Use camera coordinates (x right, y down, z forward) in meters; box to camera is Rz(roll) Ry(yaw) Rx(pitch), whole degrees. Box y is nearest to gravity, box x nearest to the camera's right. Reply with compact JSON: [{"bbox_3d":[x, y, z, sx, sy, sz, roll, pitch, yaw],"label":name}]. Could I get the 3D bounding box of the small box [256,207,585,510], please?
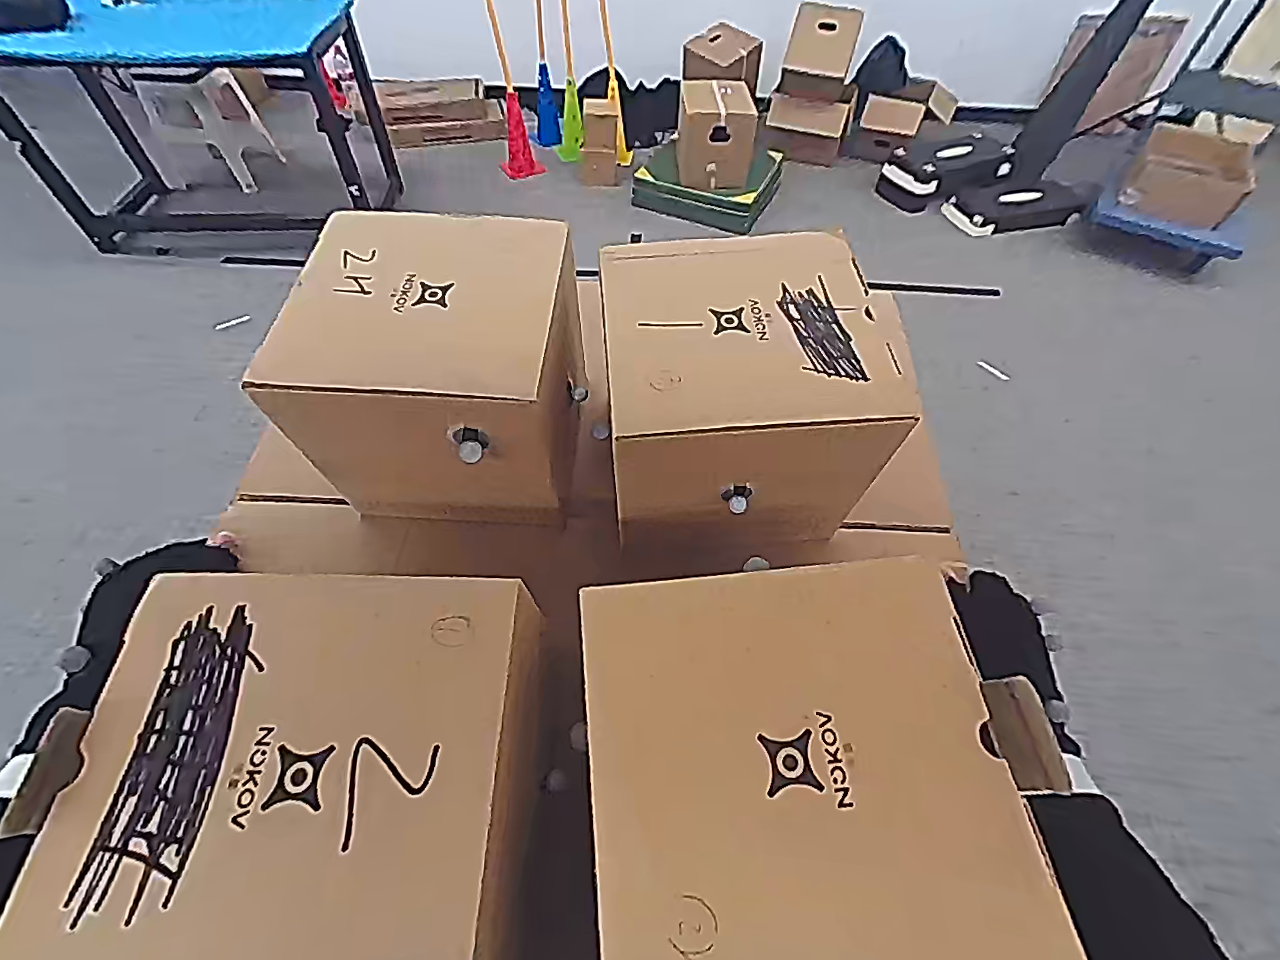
[{"bbox_3d":[-0.142,-0.087,0.433,0.179,0.176,0.168,4,59,2],"label":"small box"}]
